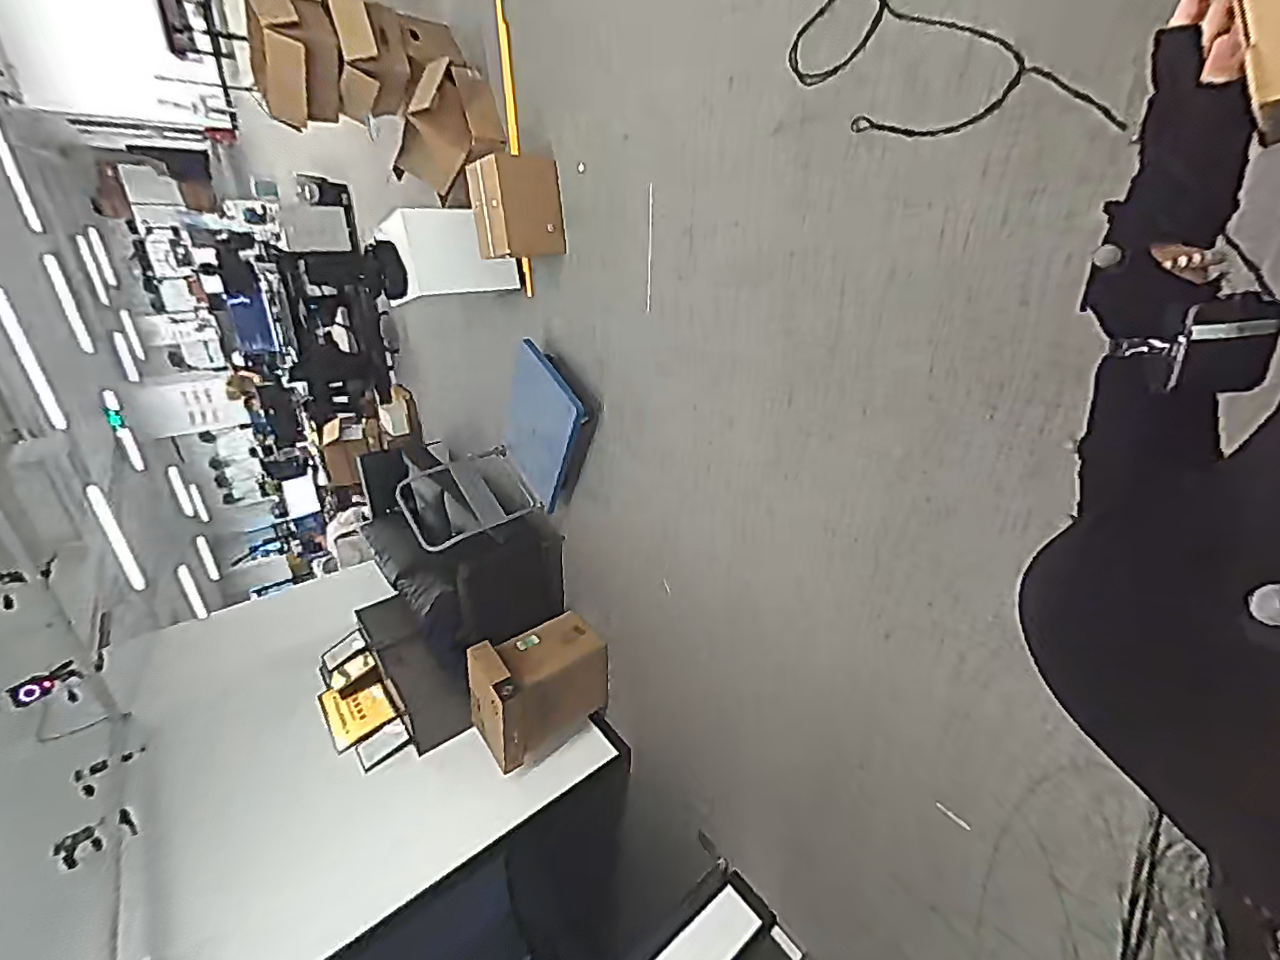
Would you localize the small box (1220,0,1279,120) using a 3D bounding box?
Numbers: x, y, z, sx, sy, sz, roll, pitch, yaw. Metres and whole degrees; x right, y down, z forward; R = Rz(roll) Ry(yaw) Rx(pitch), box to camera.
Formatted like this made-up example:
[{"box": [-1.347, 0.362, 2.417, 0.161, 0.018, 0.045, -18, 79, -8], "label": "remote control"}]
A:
[{"box": [0.397, -0.303, 0.249, 0.179, 0.176, 0.168, -9, 99, 51], "label": "small box"}]
